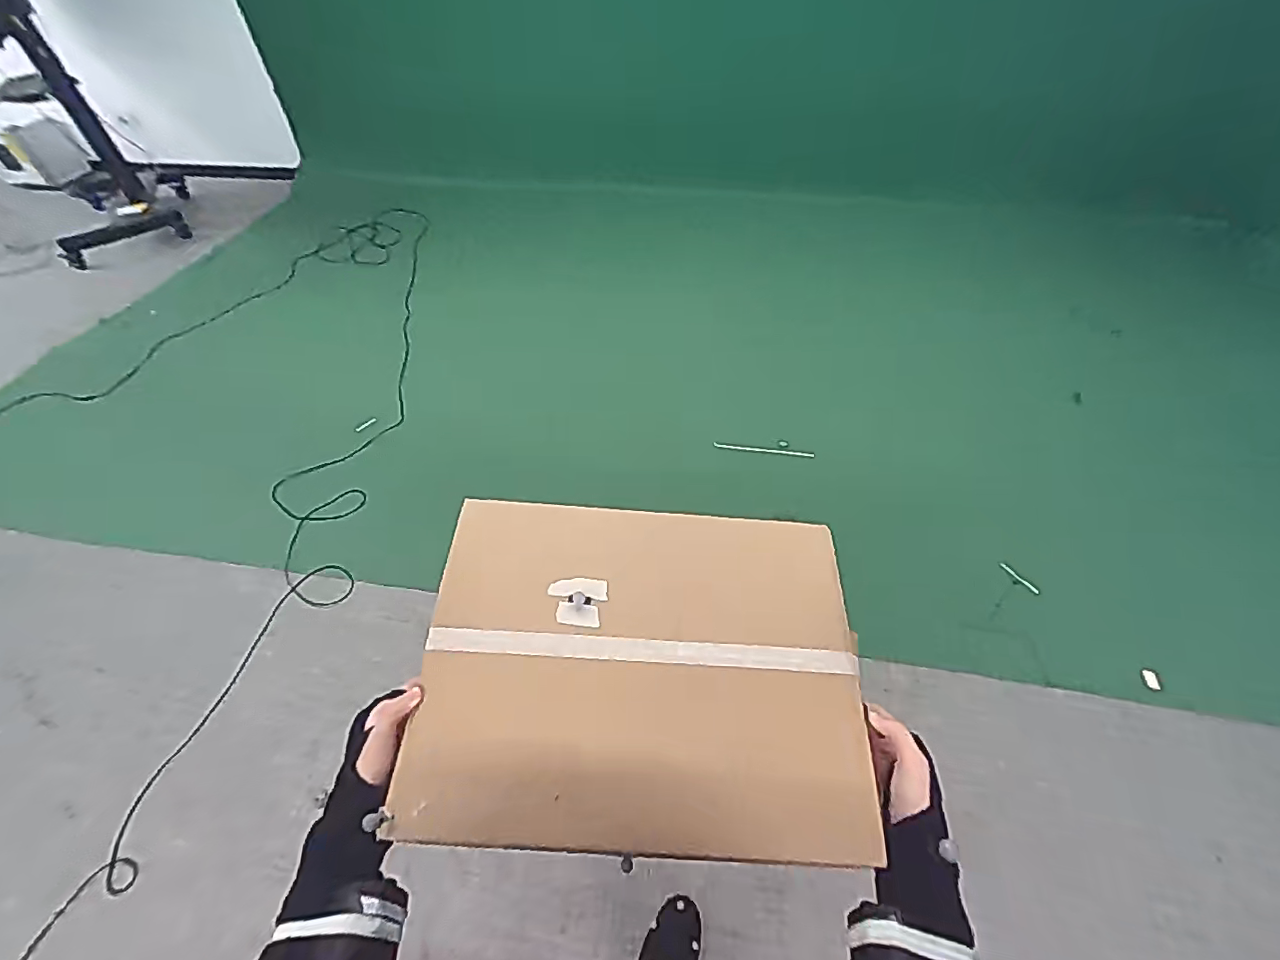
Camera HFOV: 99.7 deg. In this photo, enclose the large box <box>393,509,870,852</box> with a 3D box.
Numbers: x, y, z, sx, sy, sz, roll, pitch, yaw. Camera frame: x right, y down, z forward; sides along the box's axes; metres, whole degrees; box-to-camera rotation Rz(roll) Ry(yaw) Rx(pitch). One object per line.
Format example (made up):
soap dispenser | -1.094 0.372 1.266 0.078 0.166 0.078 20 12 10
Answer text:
large box | -0.006 0.249 0.650 0.408 0.320 0.320 3 56 -1
